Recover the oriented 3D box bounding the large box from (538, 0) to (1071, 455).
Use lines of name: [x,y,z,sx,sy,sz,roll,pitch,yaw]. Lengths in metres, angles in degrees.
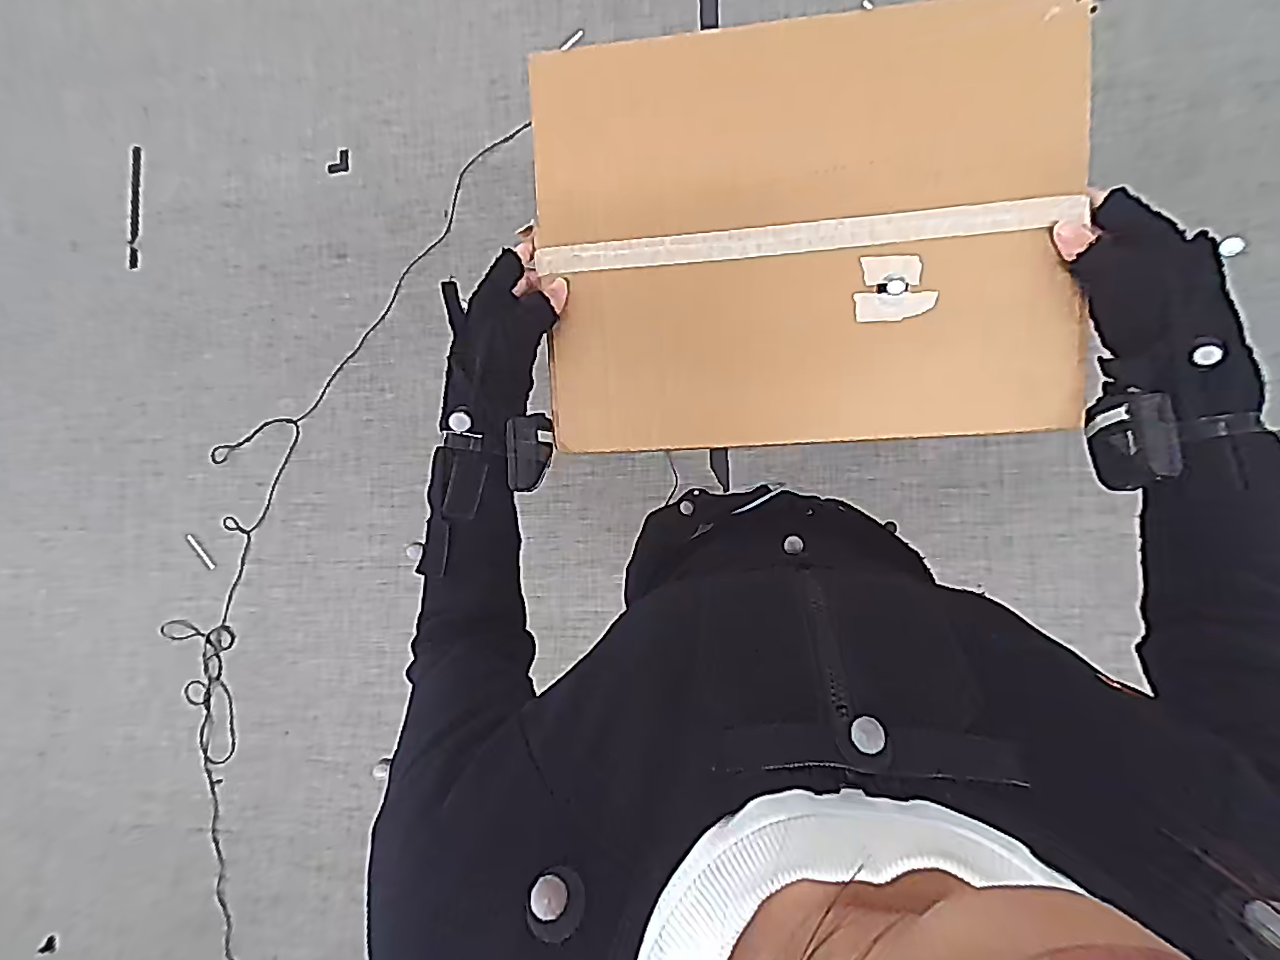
large box: [0.137,-0.200,0.574,0.408,0.320,0.320,-3,96,6]
